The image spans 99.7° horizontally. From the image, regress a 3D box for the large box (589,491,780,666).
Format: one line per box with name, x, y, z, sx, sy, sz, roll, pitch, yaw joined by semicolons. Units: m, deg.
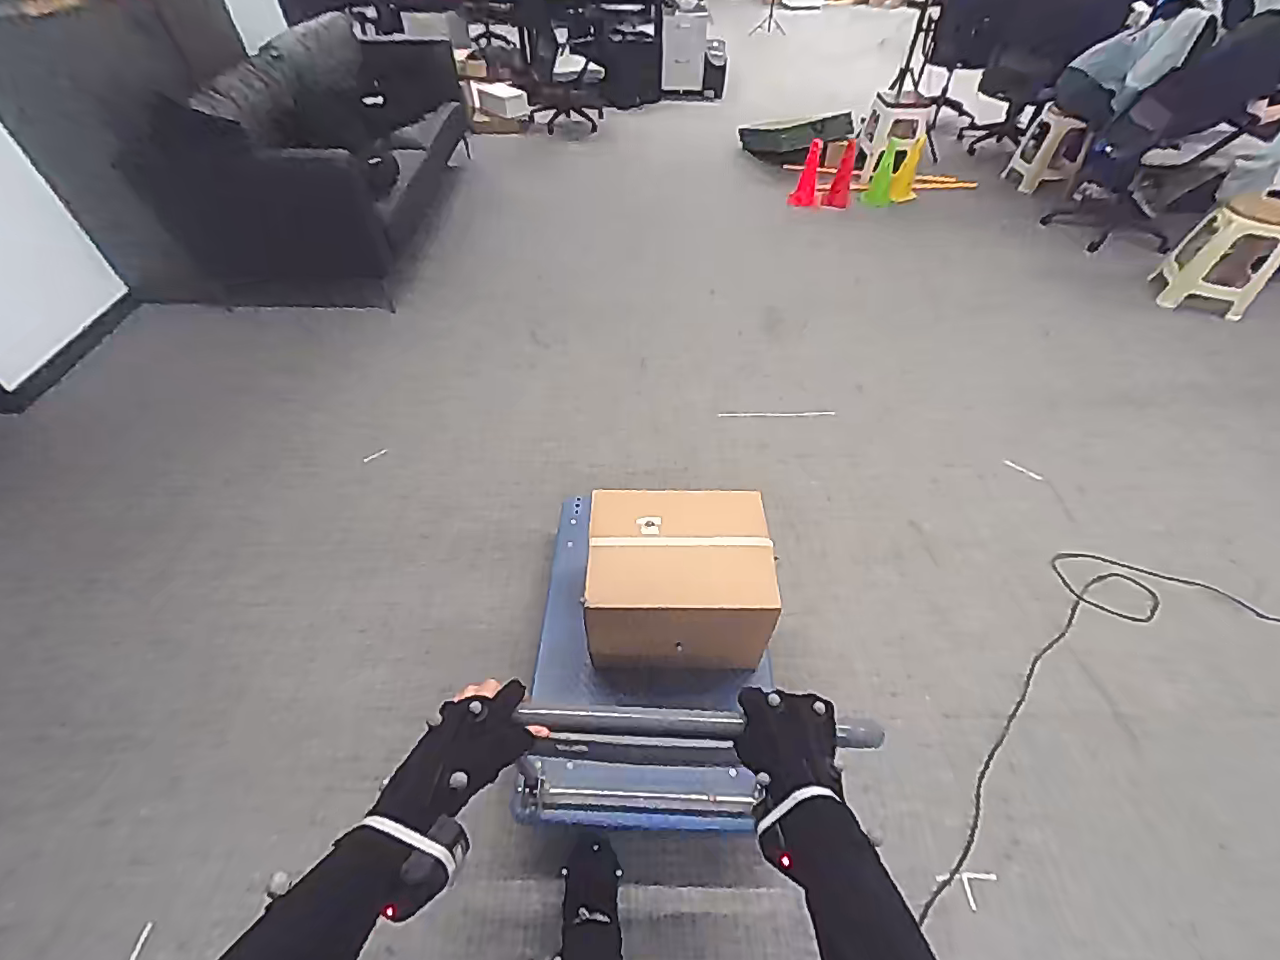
large box;0.093;0.245;1.320;0.408;0.320;0.320;-1;48;0
